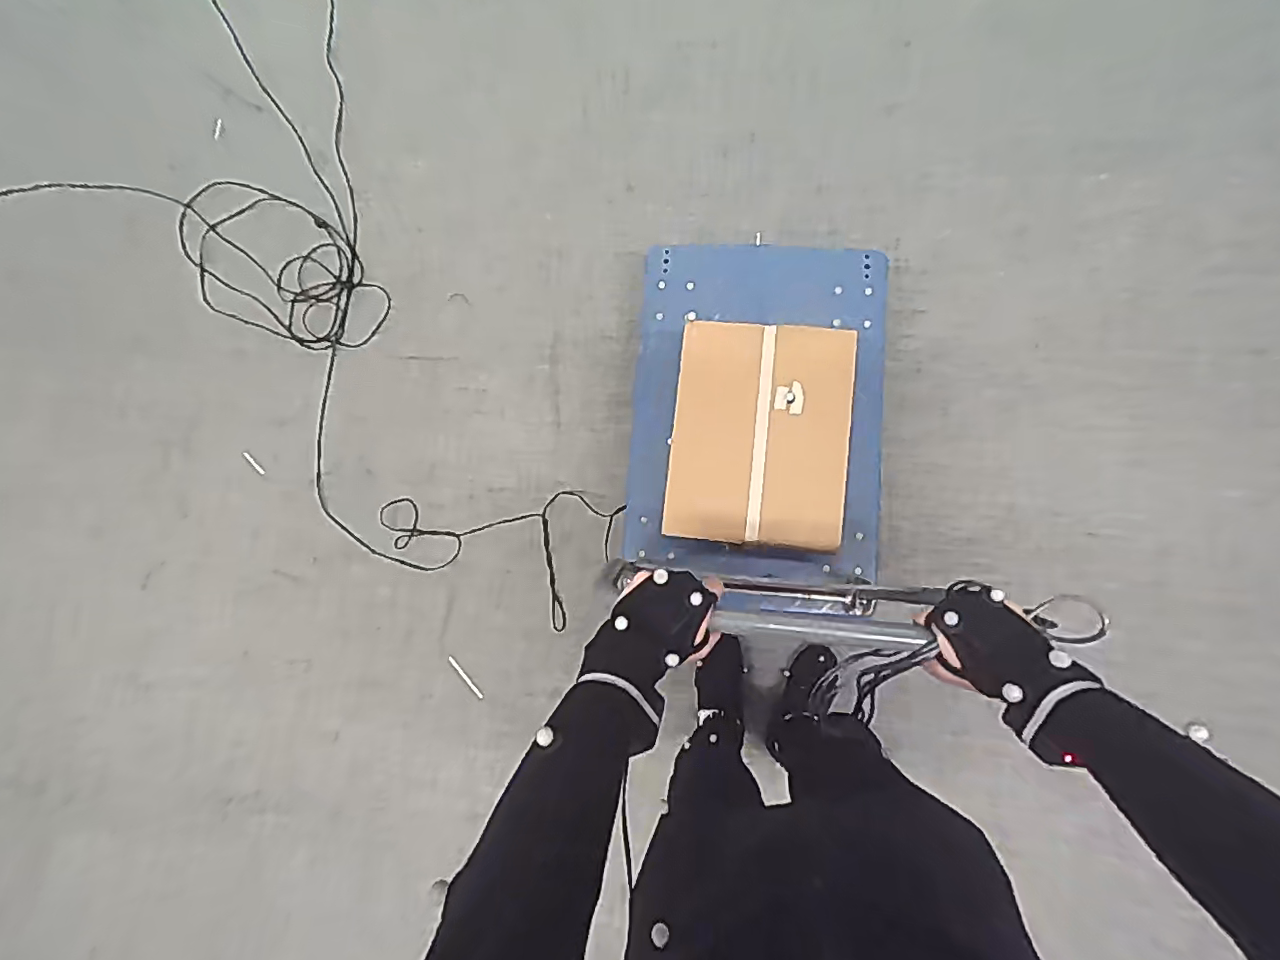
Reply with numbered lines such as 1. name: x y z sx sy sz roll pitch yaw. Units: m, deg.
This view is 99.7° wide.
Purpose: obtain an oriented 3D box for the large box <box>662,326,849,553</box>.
1. large box: 0.226 -0.061 1.122 0.320 0.320 0.408 6 83 6
